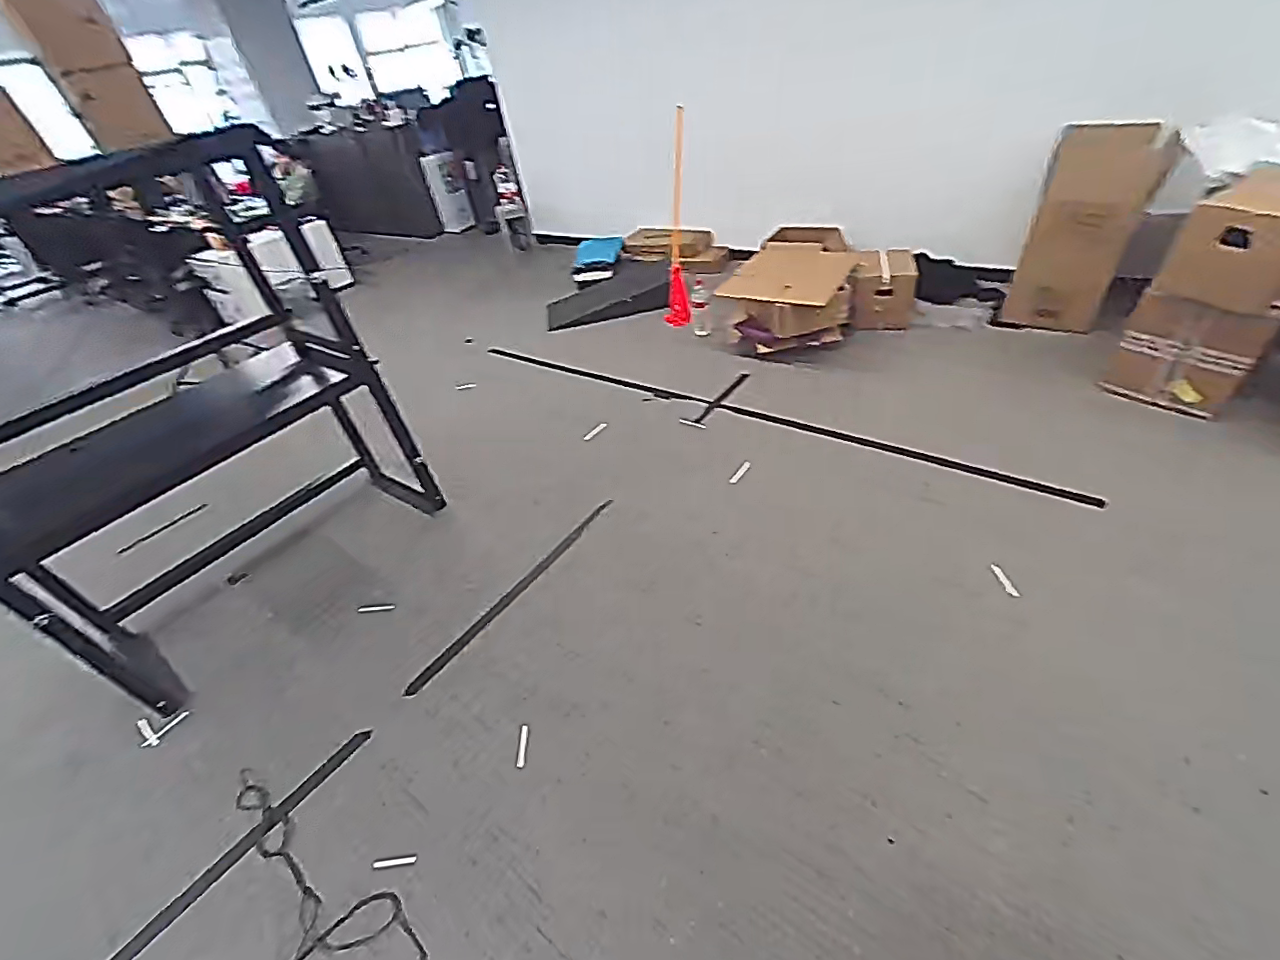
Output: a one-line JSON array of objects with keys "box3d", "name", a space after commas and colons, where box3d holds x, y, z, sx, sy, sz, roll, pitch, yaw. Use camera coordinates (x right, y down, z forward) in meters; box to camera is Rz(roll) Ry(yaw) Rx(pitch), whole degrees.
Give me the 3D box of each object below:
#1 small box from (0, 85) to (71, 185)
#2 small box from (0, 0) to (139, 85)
[{"box3d": [-1.523, -0.816, 1.289, 0.179, 0.176, 0.168, 22, 50, 36], "name": "small box"}, {"box3d": [-1.377, -1.085, 1.316, 0.168, 0.176, 0.179, 19, 49, 35], "name": "small box"}]
